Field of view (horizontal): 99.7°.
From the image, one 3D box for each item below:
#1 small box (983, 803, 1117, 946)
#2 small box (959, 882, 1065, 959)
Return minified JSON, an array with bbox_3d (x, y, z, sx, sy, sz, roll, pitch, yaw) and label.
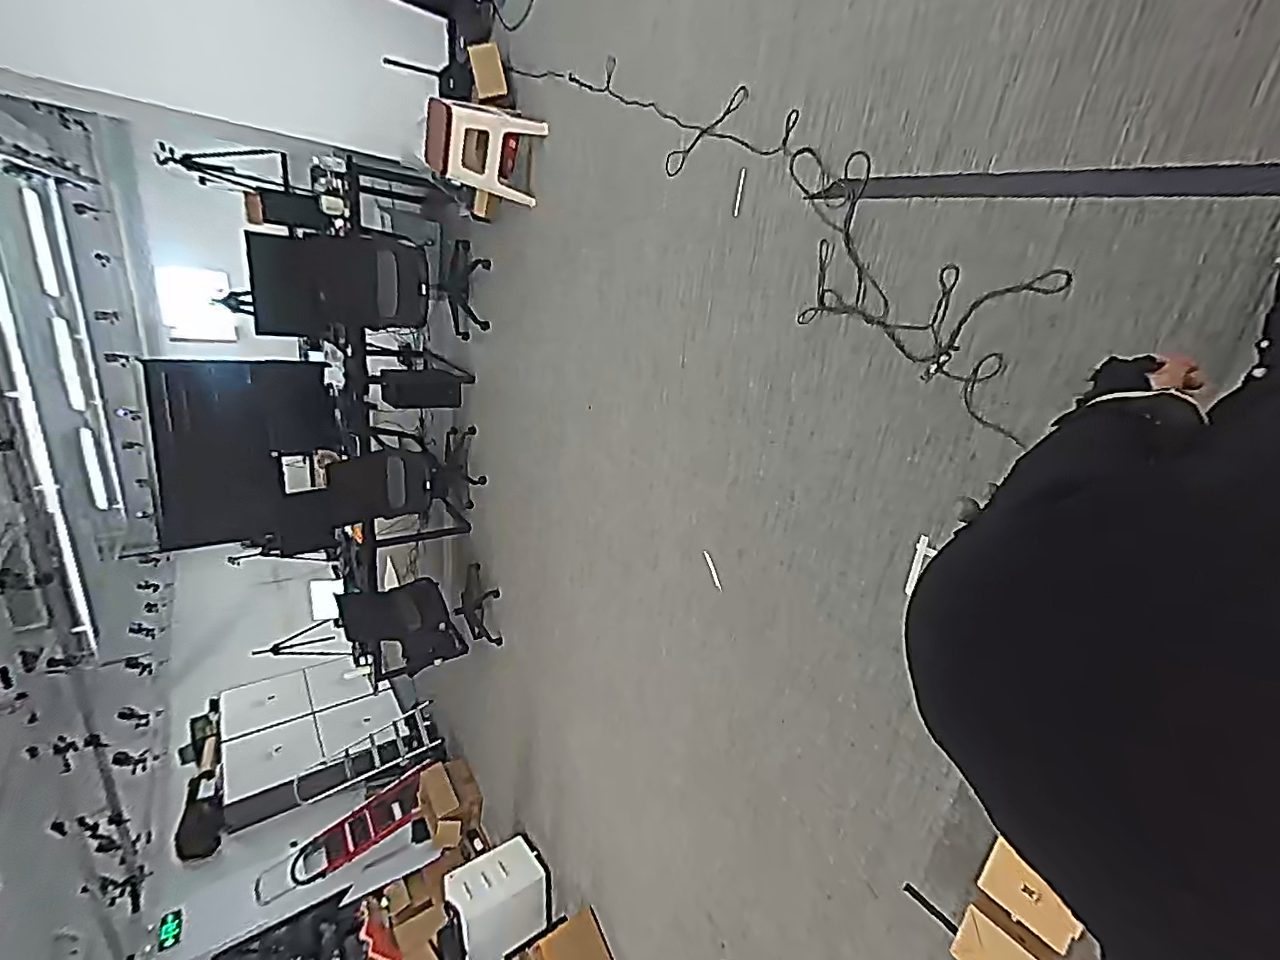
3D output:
[{"bbox_3d":[0.923,0.870,1.220,0.179,0.176,0.168,28,119,46],"label":"small box"},{"bbox_3d":[0.897,1.081,1.291,0.168,0.176,0.179,27,118,47],"label":"small box"}]
